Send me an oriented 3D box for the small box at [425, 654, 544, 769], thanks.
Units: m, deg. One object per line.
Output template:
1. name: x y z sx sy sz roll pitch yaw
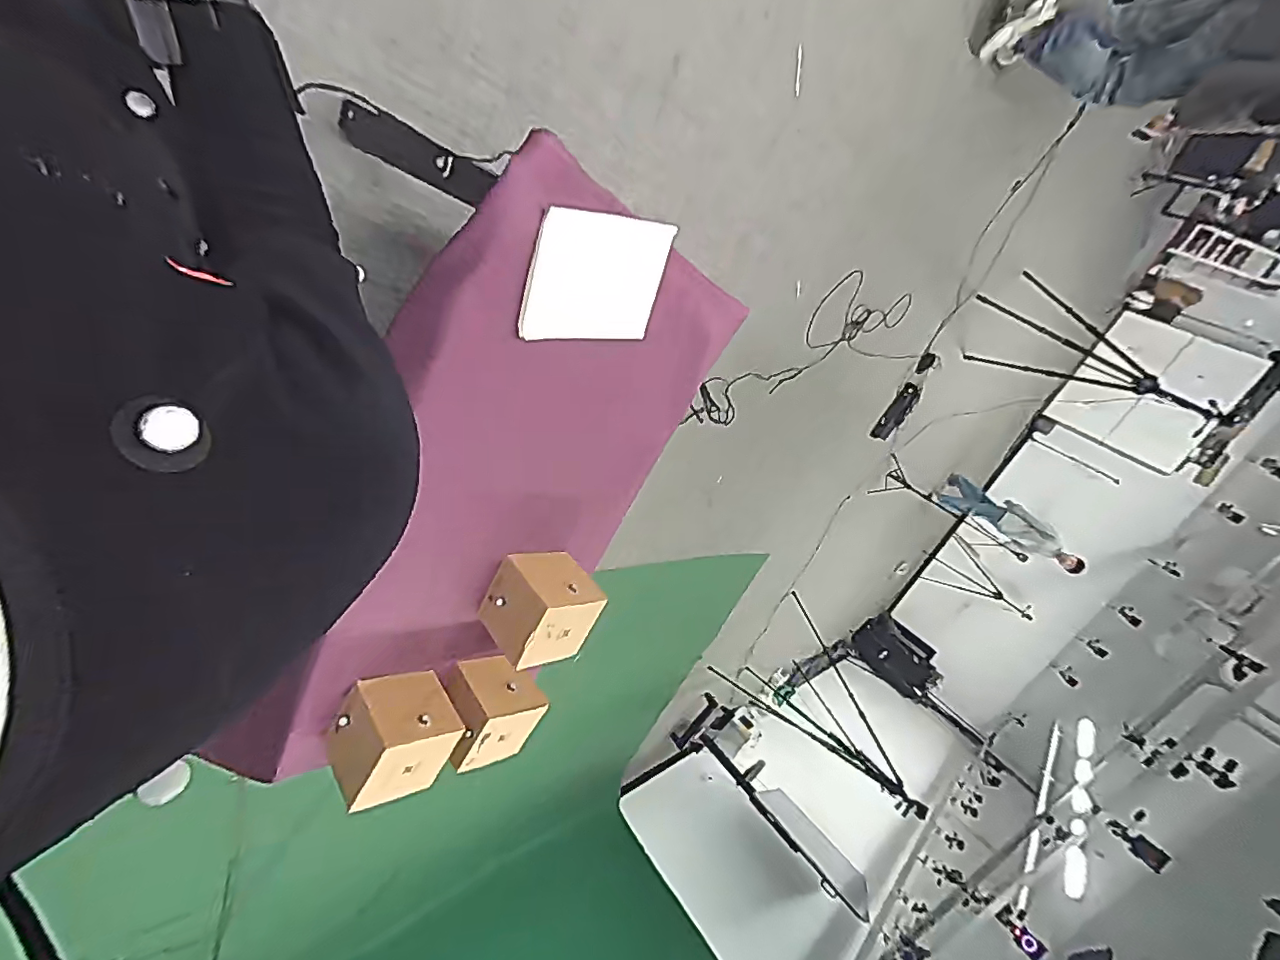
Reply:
1. small box: -0.366 0.529 1.268 0.179 0.176 0.168 13 113 -54

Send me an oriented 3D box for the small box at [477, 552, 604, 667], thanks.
1. small box: -0.219 0.270 1.173 0.179 0.176 0.168 7 118 -51
